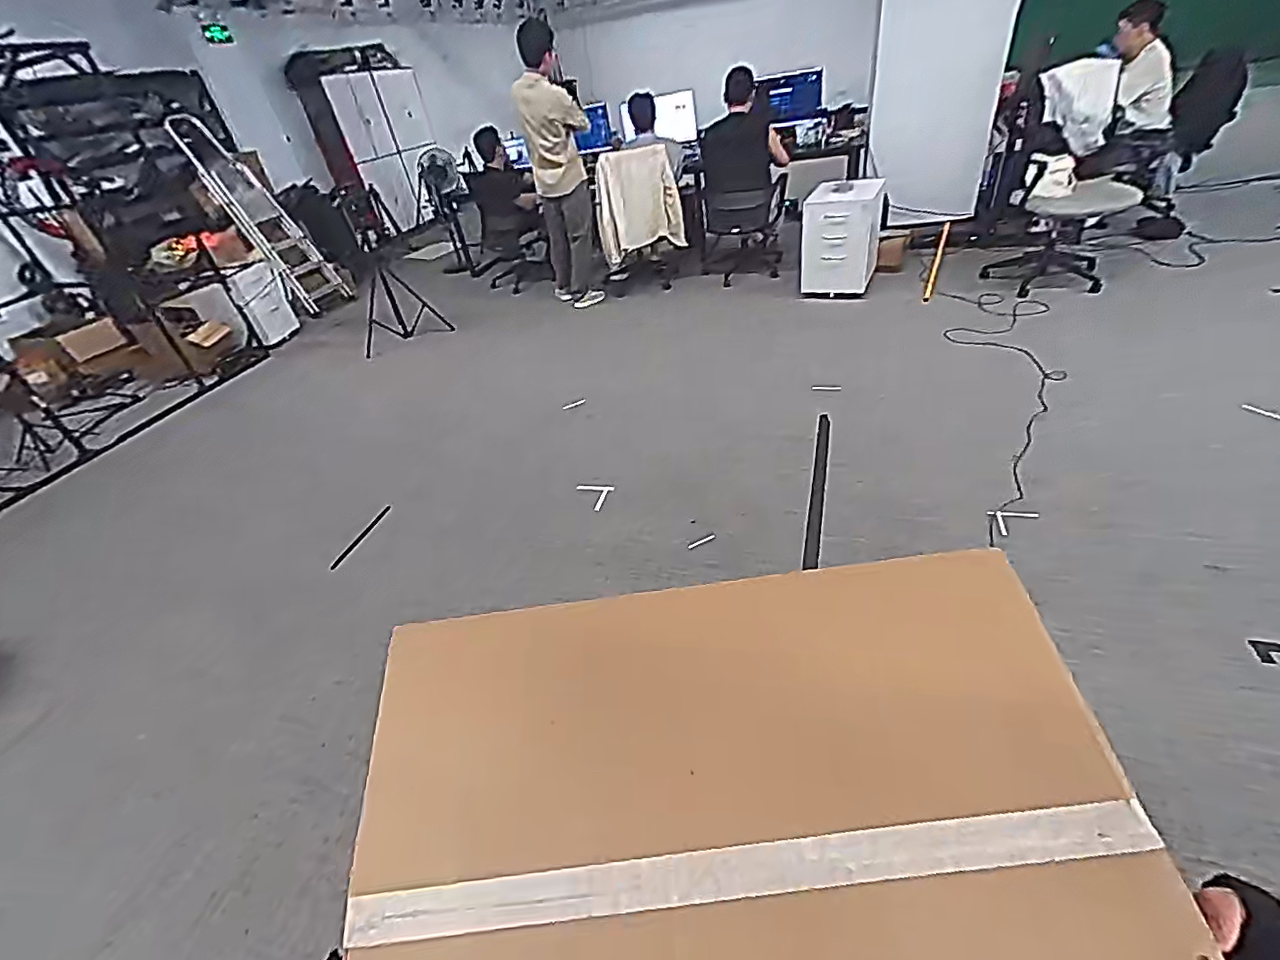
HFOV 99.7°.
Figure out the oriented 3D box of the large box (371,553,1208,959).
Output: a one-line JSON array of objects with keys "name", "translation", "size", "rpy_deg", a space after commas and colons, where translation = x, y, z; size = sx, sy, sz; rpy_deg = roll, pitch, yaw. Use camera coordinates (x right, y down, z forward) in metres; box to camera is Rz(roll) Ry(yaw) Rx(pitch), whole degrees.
[{"name": "large box", "translation": [0.071, 0.286, 0.404], "size": [0.408, 0.320, 0.320], "rpy_deg": [-8, 56, 2]}]
